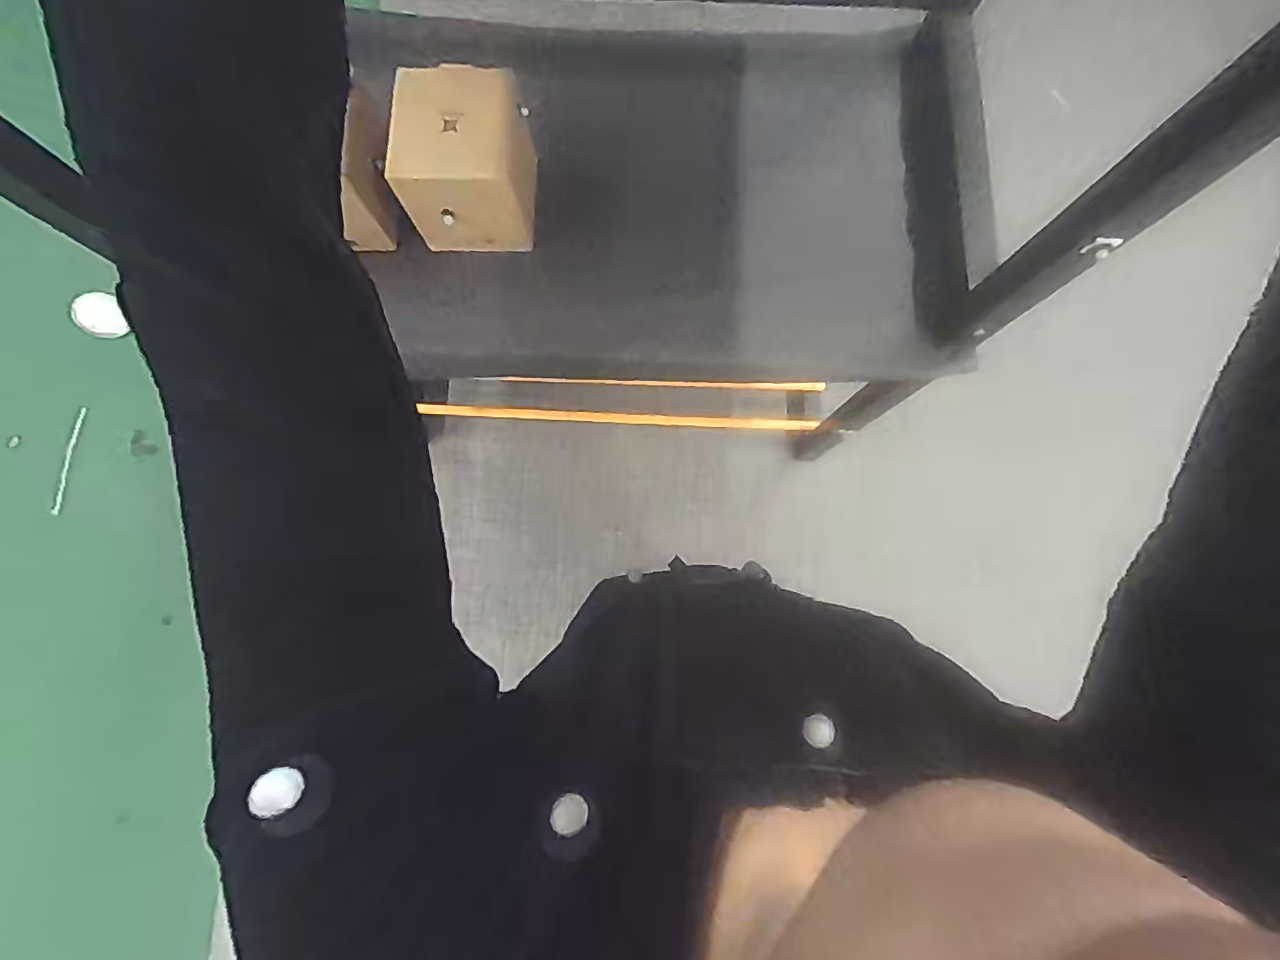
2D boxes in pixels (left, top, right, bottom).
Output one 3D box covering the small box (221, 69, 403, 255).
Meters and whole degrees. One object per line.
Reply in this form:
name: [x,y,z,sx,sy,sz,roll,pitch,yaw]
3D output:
small box: [-0.472,-0.466,0.808,0.168,0.176,0.179,0,80,0]
